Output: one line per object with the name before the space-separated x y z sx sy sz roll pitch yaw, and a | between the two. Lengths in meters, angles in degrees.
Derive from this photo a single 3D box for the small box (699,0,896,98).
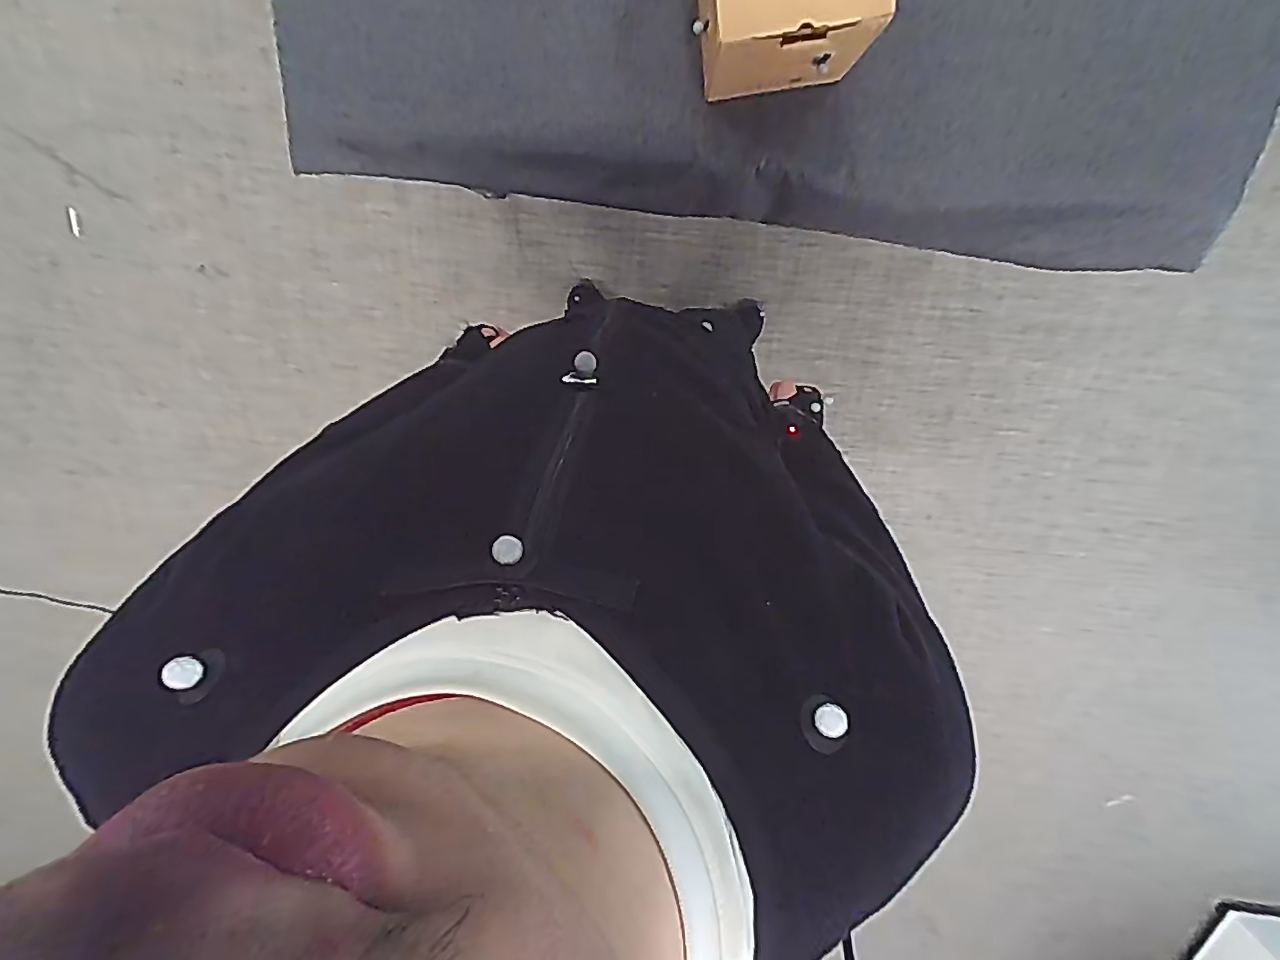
small box | 0.152 -0.526 0.561 0.168 0.176 0.179 -7 109 3
